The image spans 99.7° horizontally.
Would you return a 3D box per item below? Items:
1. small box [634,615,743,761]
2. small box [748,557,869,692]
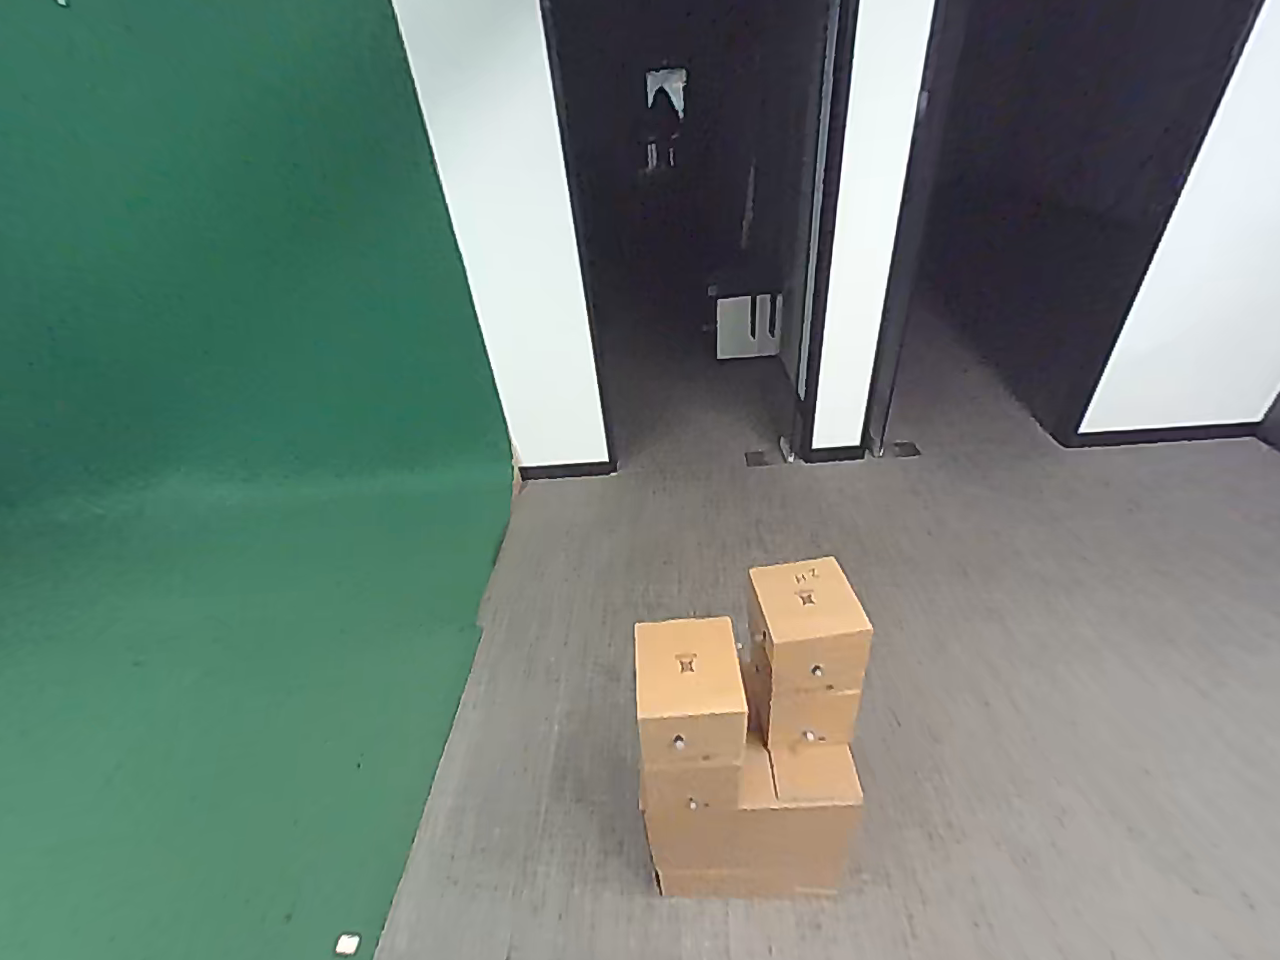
[{"bbox_3d":[0.080,0.357,0.916,0.168,0.176,0.179,-5,38,1],"label":"small box"},{"bbox_3d":[0.300,0.270,0.995,0.168,0.176,0.179,-8,35,1],"label":"small box"}]
